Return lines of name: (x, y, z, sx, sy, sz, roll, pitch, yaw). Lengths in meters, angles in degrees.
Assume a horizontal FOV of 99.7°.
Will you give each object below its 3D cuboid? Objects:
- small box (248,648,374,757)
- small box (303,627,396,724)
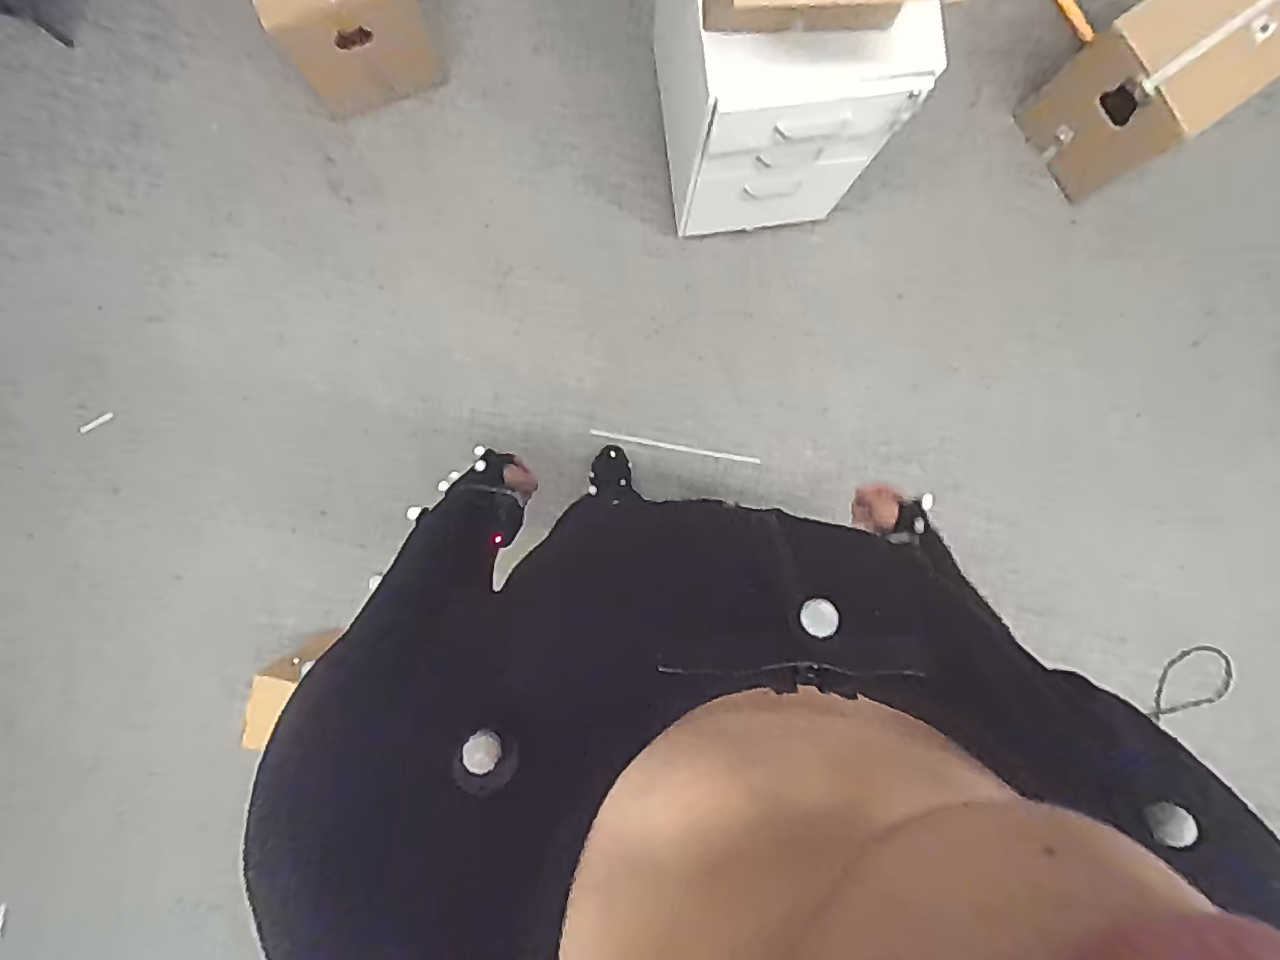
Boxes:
small box: (-0.752, 0.504, 1.250, 0.179, 0.176, 0.168, 11, 92, -2)
small box: (-0.764, 0.505, 1.413, 0.168, 0.176, 0.179, 11, 91, -1)
